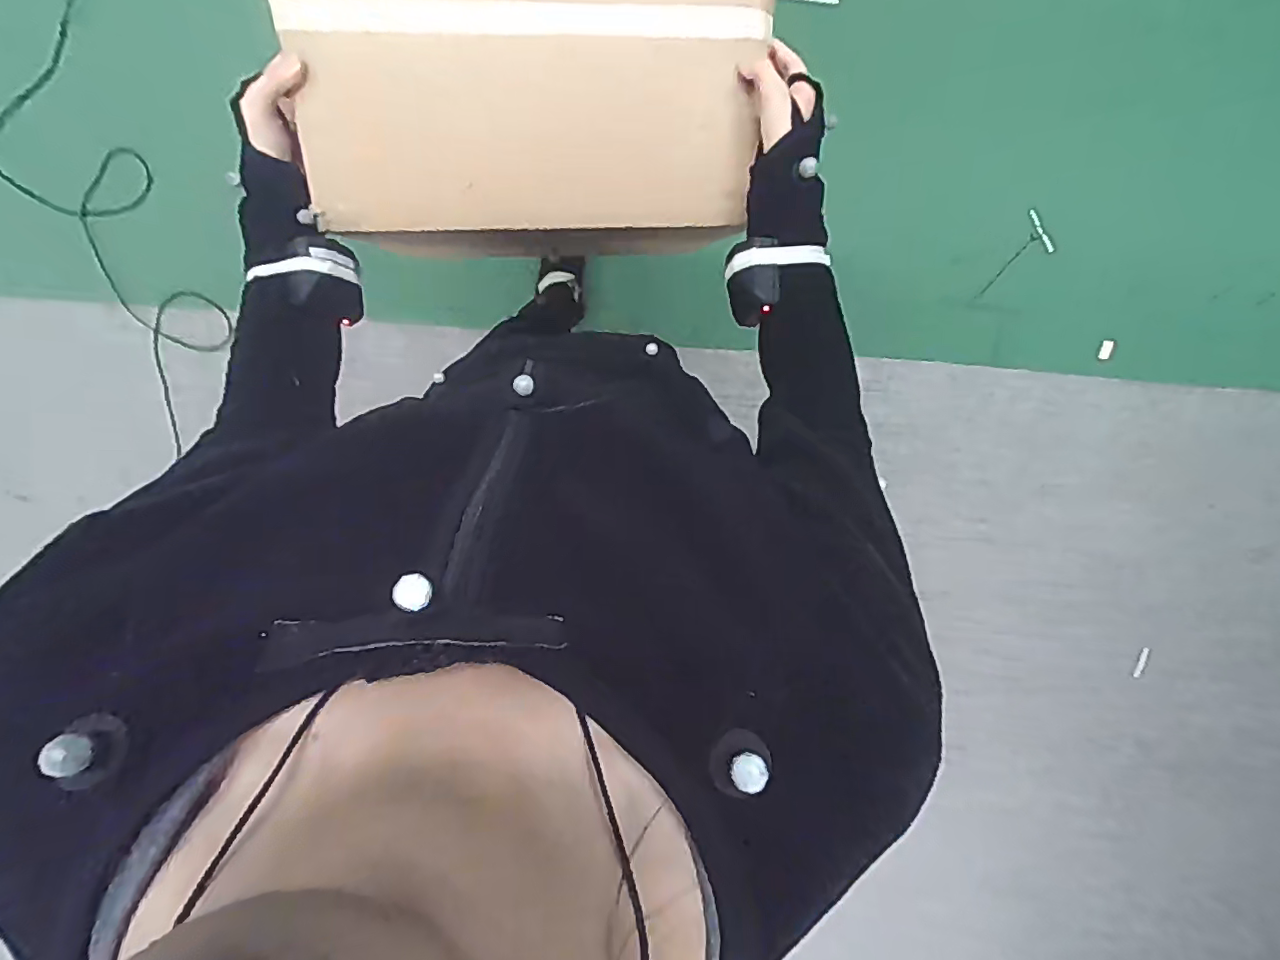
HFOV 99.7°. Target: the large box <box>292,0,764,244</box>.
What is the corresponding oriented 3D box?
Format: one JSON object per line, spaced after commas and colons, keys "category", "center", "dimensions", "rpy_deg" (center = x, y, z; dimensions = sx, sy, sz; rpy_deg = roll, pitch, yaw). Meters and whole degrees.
{"category": "large box", "center": [-0.102, -0.441, 0.603], "dimensions": [0.408, 0.320, 0.320], "rpy_deg": [-3, 109, -6]}
